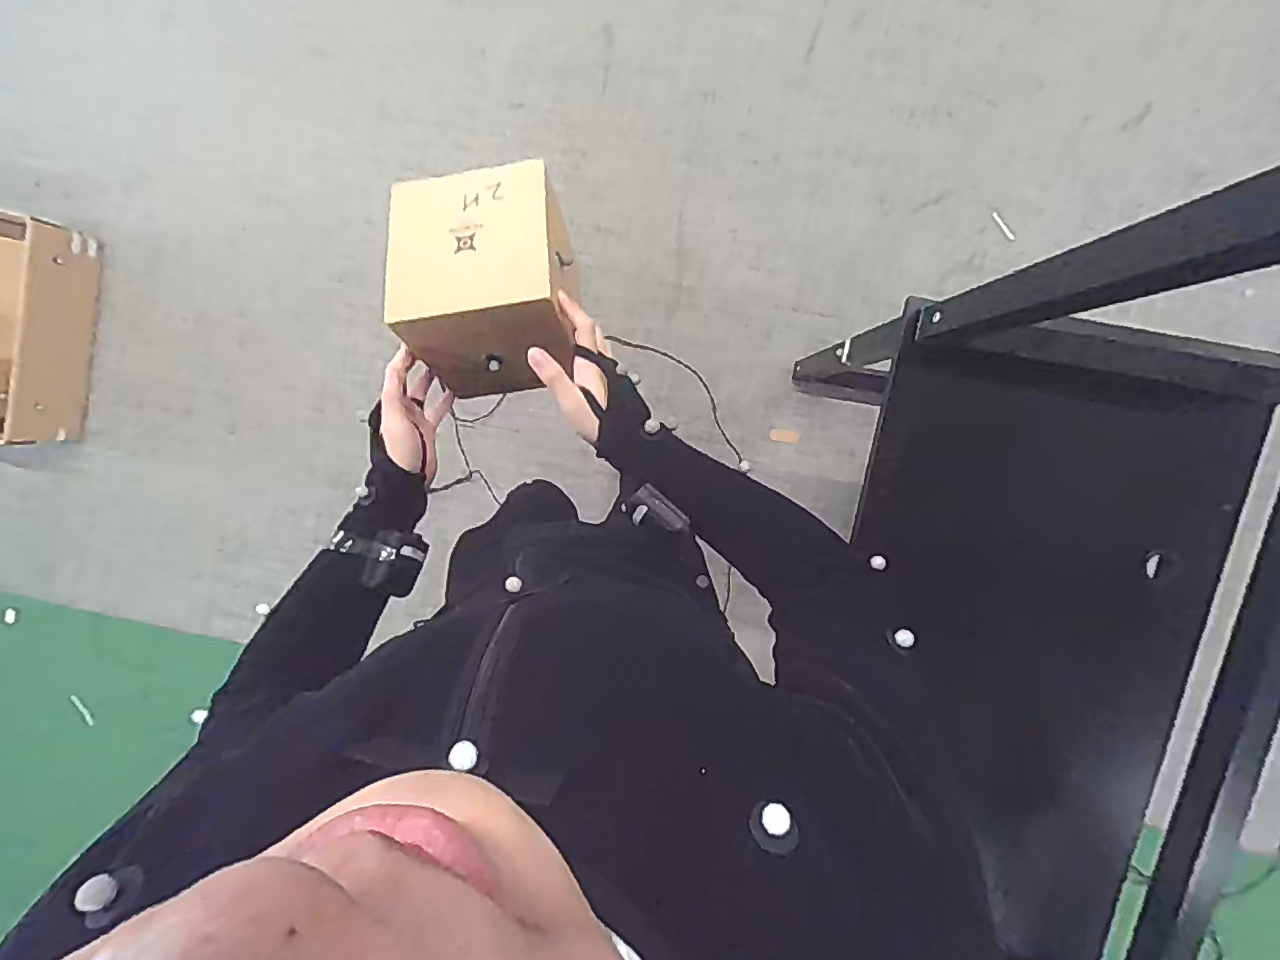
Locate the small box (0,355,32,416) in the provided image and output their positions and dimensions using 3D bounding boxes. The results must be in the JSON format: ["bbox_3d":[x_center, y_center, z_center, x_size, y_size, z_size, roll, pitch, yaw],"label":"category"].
[{"bbox_3d":[-1.850,-0.272,1.486,0.179,0.176,0.168,13,96,1],"label":"small box"}]

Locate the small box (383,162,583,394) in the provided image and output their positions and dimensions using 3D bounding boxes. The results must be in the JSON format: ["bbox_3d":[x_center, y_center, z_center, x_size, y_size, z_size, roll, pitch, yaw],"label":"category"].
[{"bbox_3d":[-0.163,-0.210,0.610,0.168,0.176,0.179,-8,71,4],"label":"small box"}]
